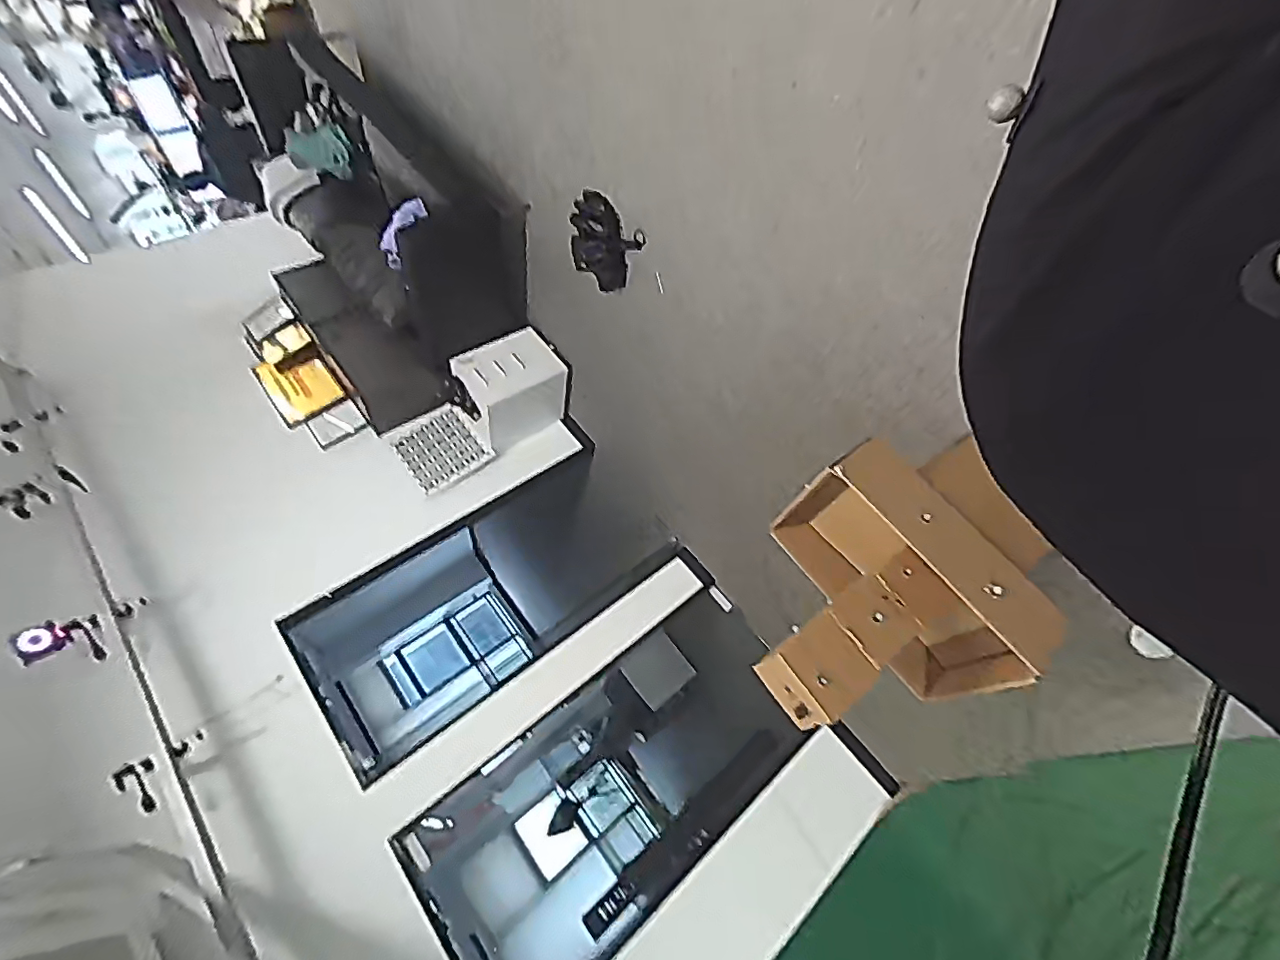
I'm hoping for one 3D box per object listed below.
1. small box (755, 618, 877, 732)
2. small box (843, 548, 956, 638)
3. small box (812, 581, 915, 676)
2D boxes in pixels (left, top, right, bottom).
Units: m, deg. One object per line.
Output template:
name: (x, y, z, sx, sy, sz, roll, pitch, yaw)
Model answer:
small box: (0.409, 0.455, 1.260, 0.179, 0.176, 0.168, 52, 154, 19)
small box: (0.669, 0.300, 1.389, 0.168, 0.176, 0.179, 52, 156, 18)
small box: (0.538, 0.376, 1.327, 0.168, 0.176, 0.179, 51, 153, 20)
